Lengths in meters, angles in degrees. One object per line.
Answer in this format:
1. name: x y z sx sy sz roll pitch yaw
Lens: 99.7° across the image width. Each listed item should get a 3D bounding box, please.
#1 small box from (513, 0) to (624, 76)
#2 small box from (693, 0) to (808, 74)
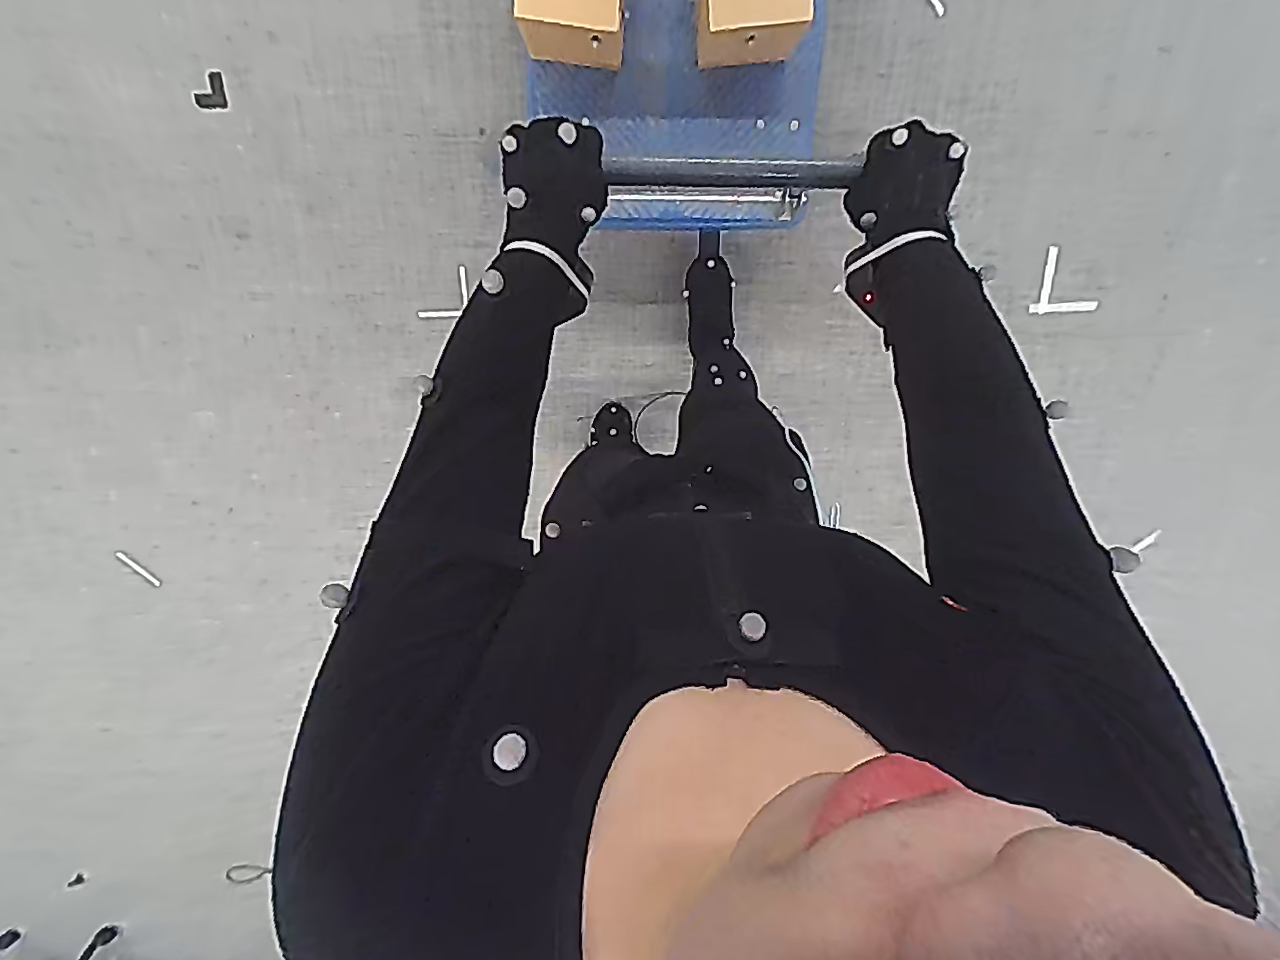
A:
1. small box: -0.120 -0.845 0.951 0.179 0.176 0.168 5 109 -5
2. small box: 0.187 -0.849 0.956 0.179 0.176 0.168 -5 110 1
